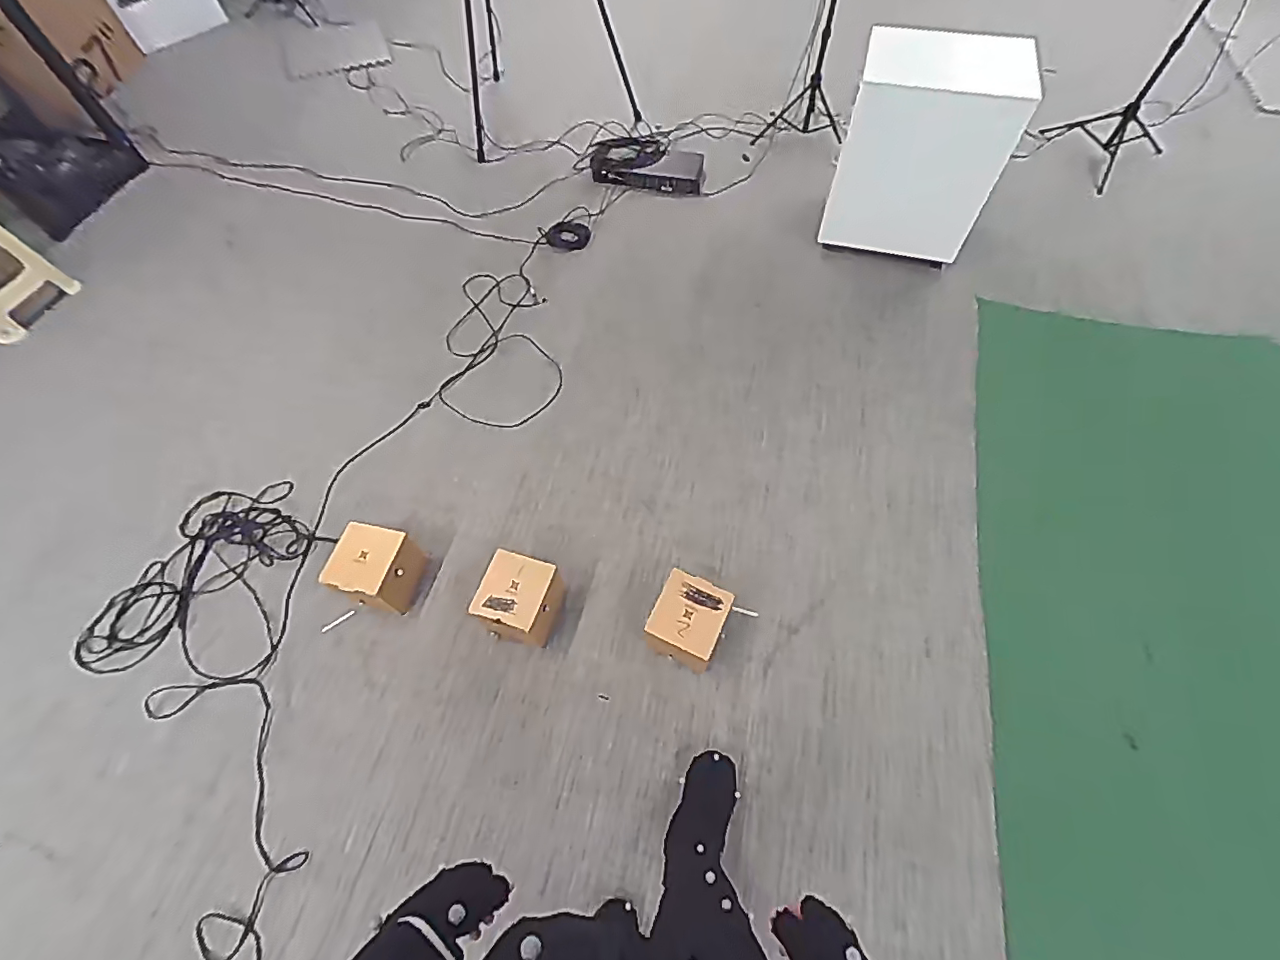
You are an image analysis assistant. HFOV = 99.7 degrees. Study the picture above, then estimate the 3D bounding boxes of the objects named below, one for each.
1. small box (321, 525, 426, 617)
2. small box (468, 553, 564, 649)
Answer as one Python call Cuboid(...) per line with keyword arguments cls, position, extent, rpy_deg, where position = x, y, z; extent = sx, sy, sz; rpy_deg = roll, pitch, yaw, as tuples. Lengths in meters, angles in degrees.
Cuboid(cls="small box", position=(-0.701, 0.247, 1.449), extent=(0.168, 0.176, 0.179), rpy_deg=(10, 61, 9))
Cuboid(cls="small box", position=(-0.307, 0.316, 1.391), extent=(0.168, 0.176, 0.179), rpy_deg=(15, 61, 11))
